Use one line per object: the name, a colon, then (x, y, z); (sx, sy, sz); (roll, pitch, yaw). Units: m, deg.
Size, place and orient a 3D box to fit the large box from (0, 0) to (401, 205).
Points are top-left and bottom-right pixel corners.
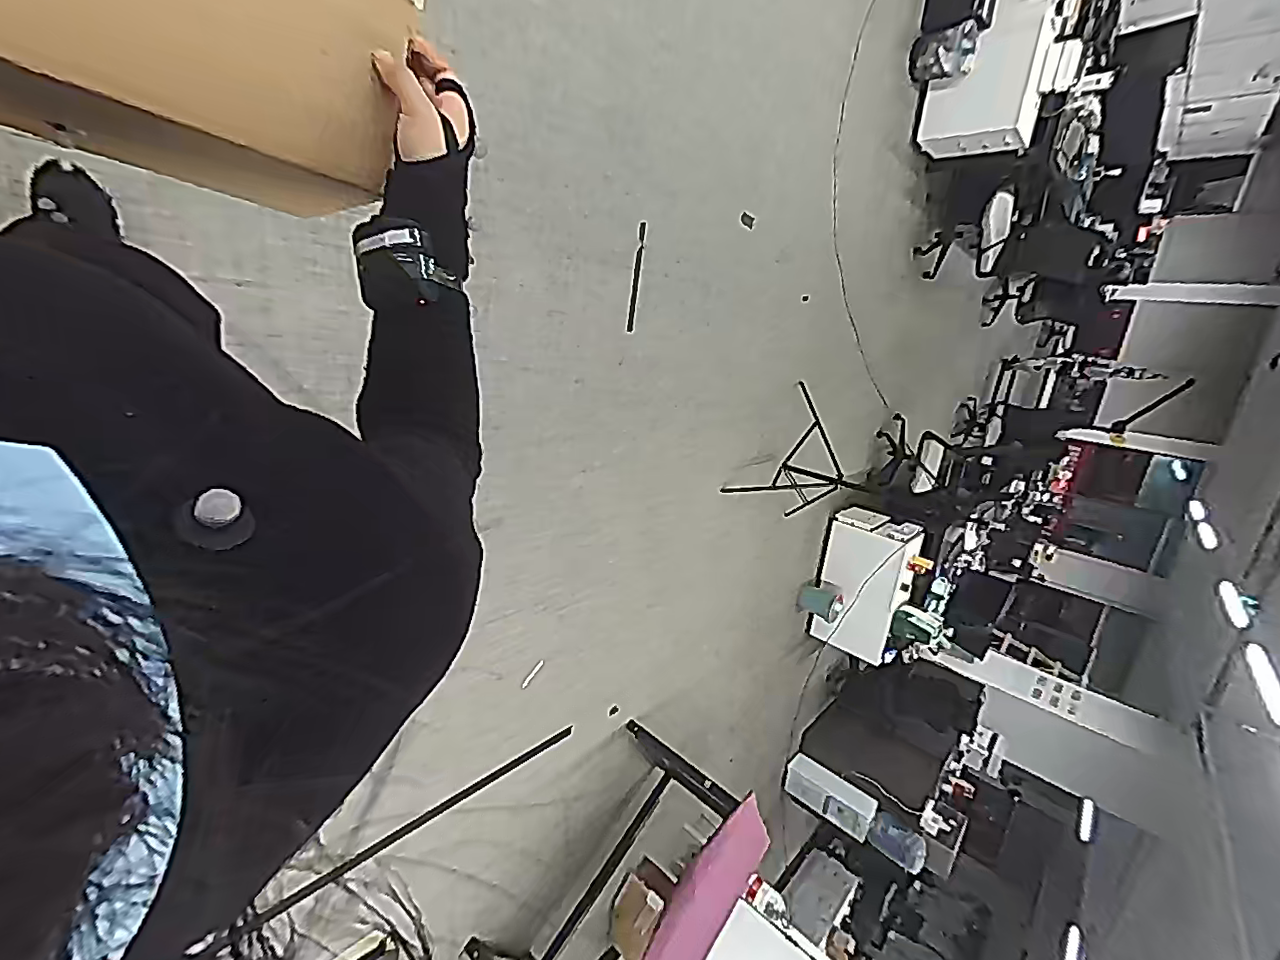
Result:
large box: (-0.429, -0.439, 0.404); (0.408, 0.320, 0.320); (2, 104, -43)
